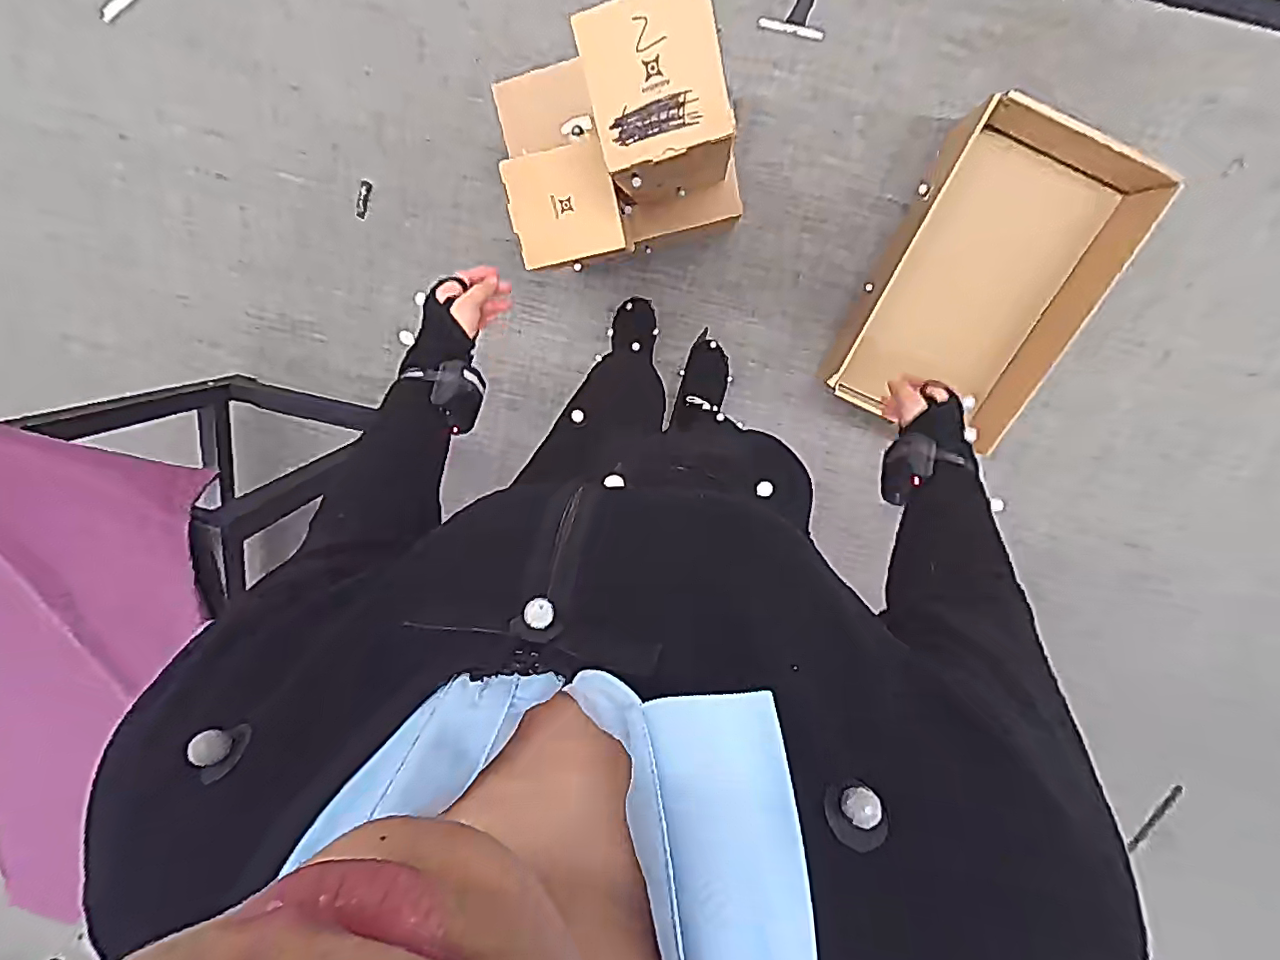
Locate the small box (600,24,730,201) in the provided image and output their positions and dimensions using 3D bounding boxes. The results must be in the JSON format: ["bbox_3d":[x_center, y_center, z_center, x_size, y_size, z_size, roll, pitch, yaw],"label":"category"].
[{"bbox_3d":[0.046,-0.574,0.872,0.168,0.176,0.179,-11,109,12],"label":"small box"}]

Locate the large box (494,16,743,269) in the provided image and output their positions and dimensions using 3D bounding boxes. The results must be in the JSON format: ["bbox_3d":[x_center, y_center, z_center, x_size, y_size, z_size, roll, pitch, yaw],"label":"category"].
[{"bbox_3d":[-0.019,-0.646,1.116,0.408,0.320,0.320,-11,108,11],"label":"large box"}]
